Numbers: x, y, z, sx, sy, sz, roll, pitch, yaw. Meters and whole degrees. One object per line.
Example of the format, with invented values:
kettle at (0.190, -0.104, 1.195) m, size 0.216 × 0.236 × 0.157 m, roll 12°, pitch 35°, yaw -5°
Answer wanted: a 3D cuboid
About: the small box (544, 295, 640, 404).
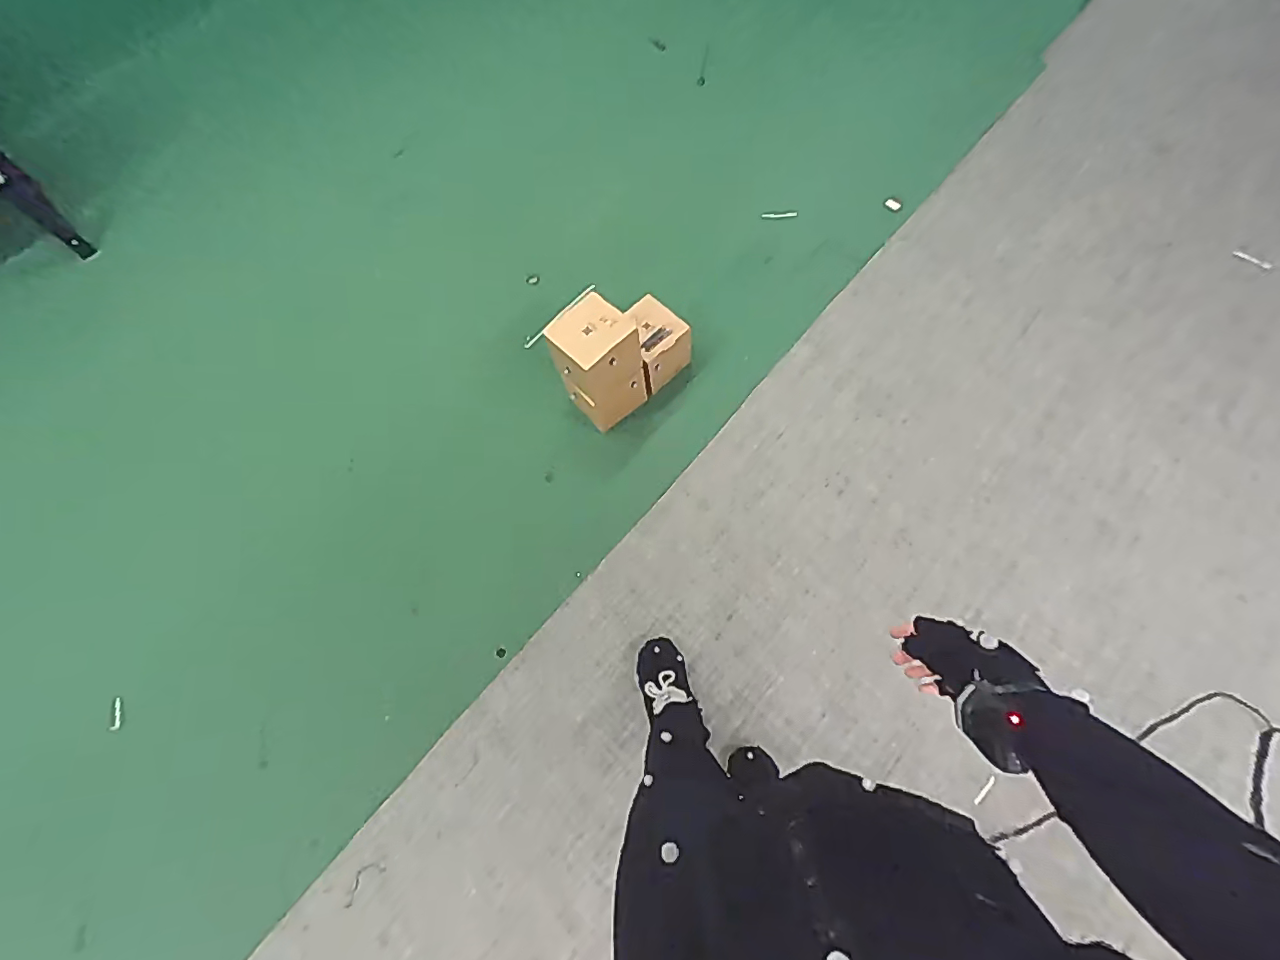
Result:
small box at (-0.114, -0.330, 1.398) m, size 0.179 × 0.176 × 0.168 m, roll -43°, pitch 71°, yaw -13°
